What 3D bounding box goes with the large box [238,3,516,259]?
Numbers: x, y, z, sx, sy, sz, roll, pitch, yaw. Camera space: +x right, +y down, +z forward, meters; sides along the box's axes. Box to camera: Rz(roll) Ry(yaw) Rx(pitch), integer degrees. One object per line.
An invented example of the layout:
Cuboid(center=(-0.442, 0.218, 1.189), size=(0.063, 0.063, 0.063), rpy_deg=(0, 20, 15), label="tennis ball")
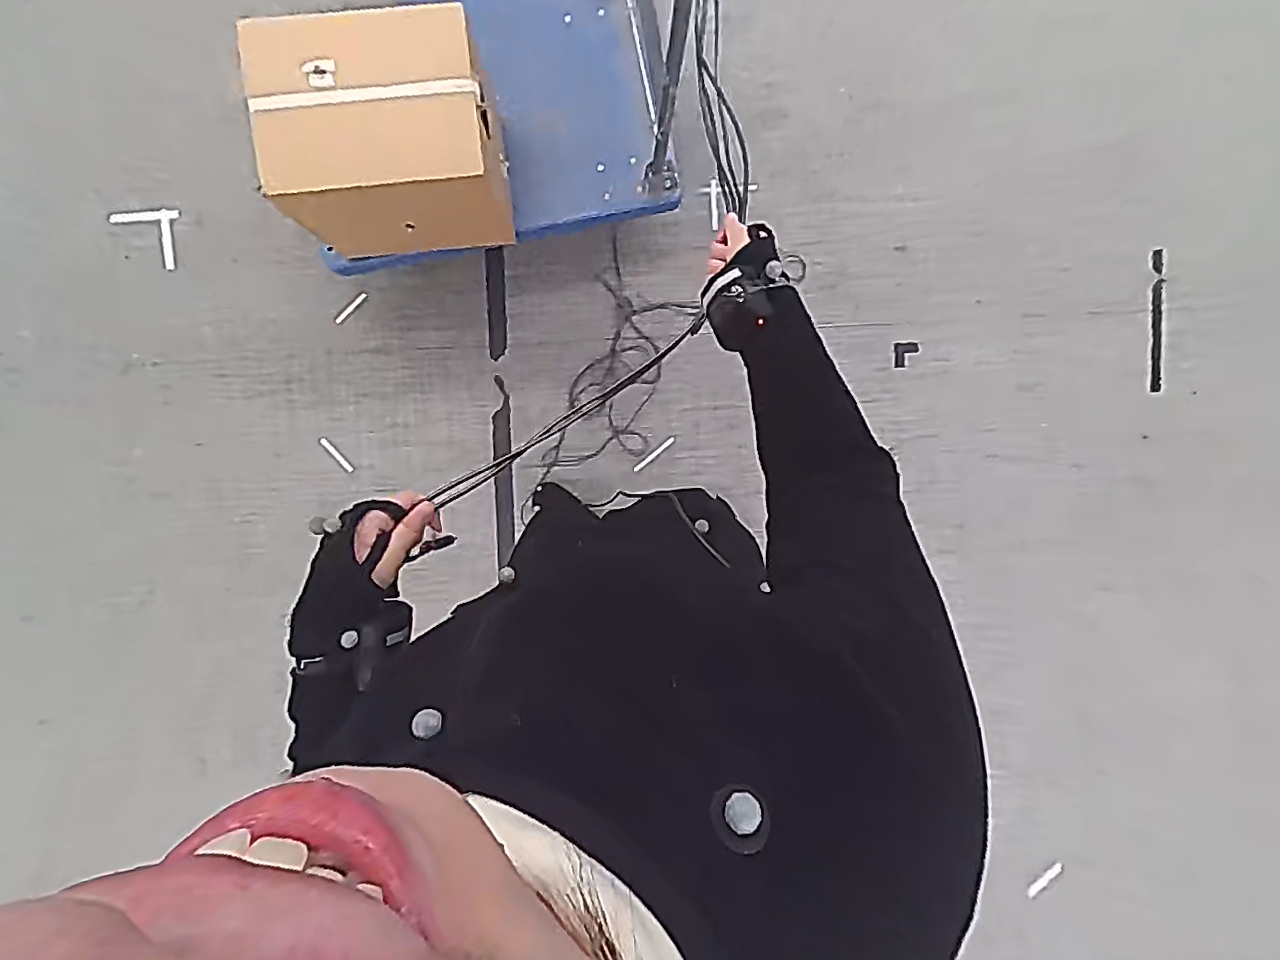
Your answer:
Cuboid(center=(-0.502, -0.683, 1.117), size=(0.408, 0.320, 0.320), rpy_deg=(-7, 91, -1), label="large box")
